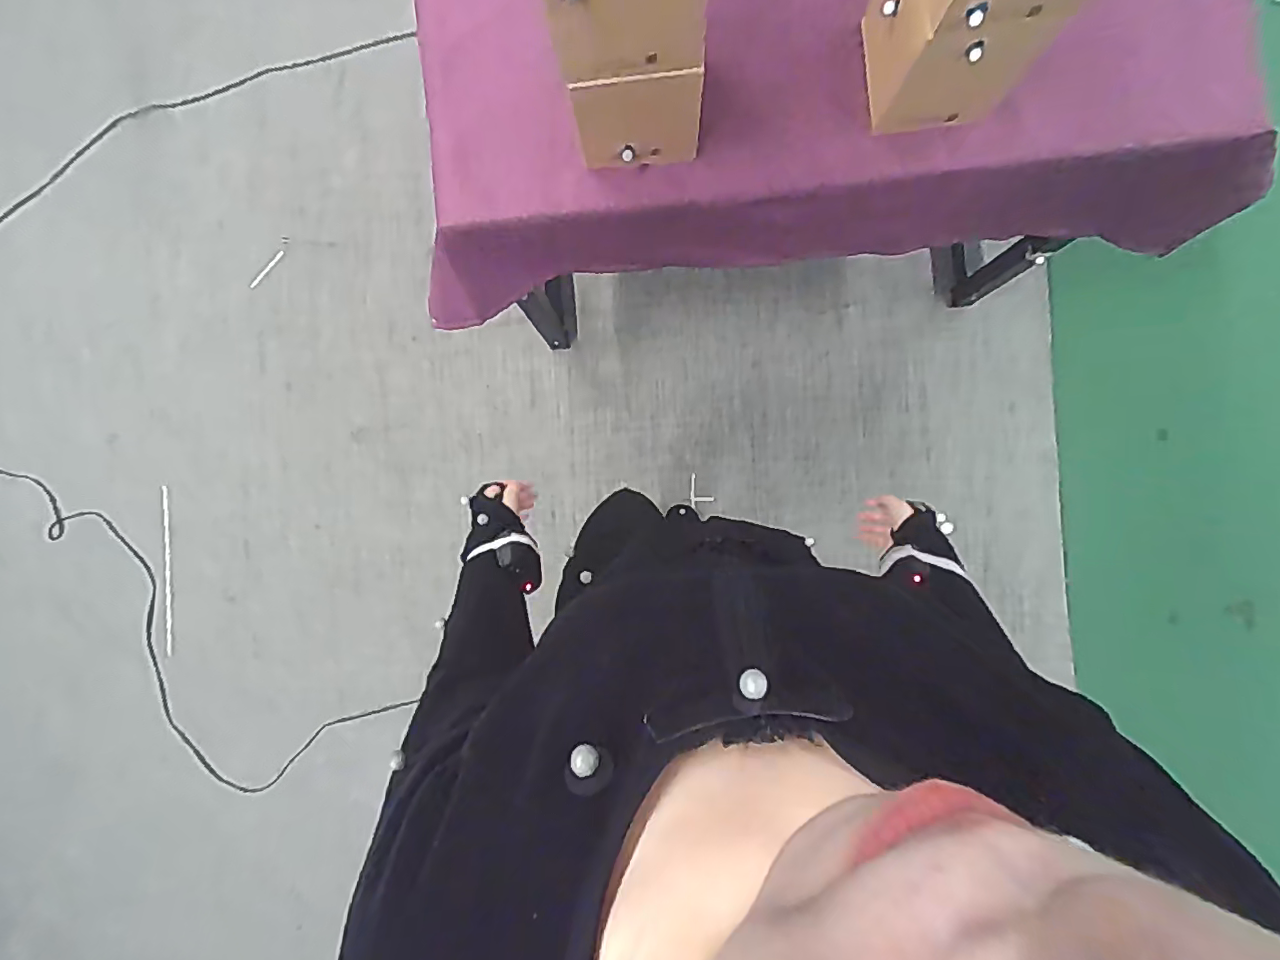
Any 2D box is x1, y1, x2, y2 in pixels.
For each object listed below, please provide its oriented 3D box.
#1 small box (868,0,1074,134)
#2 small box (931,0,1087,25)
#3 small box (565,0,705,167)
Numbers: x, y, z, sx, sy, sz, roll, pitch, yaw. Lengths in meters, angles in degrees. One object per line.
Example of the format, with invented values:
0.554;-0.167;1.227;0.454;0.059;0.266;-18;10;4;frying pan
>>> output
0.412;-0.597;0.704;0.168;0.176;0.179;-5;87;4;small box
0.406;-0.603;0.541;0.168;0.176;0.179;-6;87;2;small box
-0.006;-0.557;0.722;0.168;0.176;0.179;-4;89;3;small box
